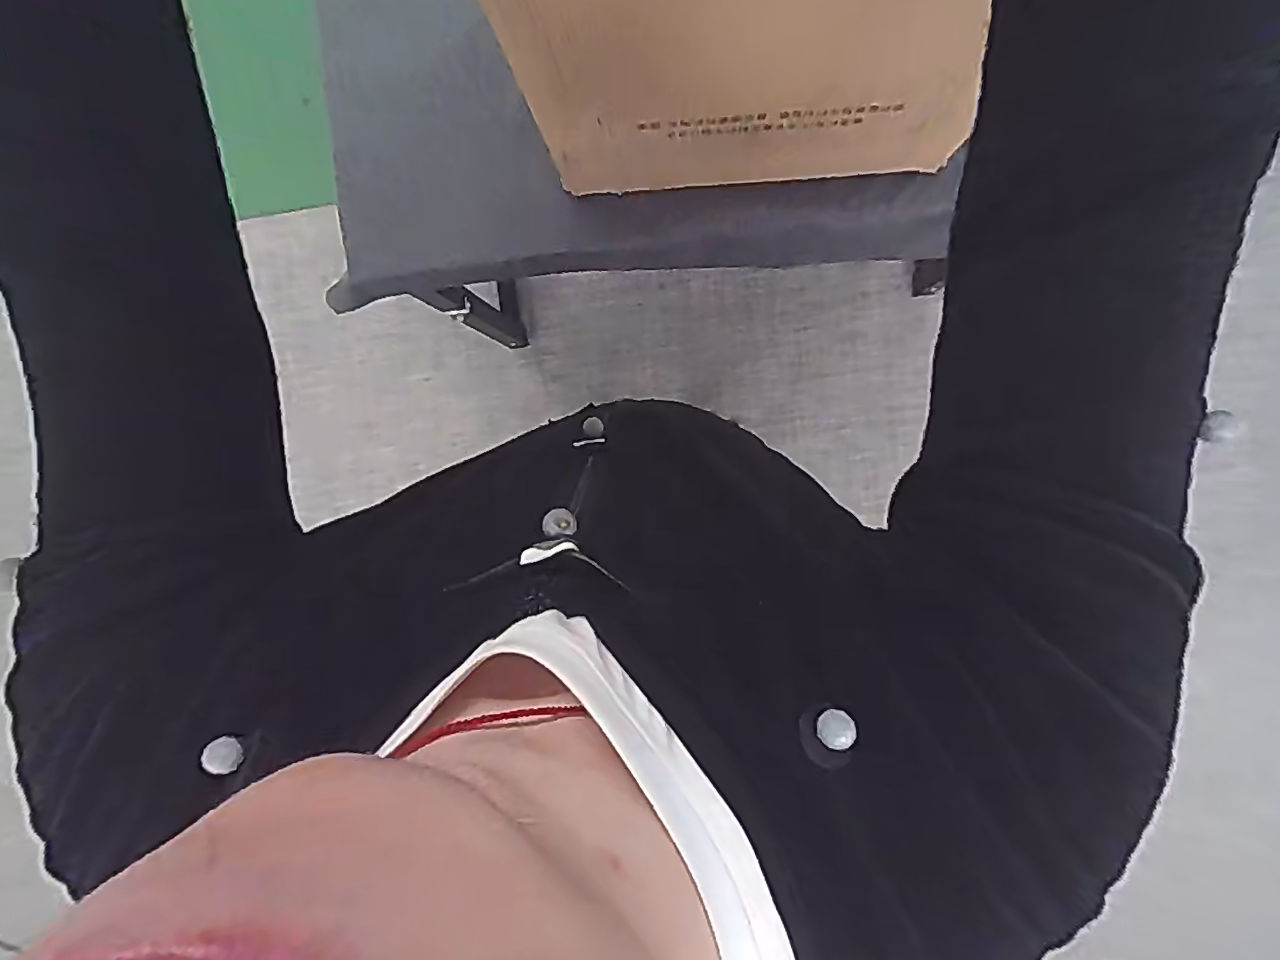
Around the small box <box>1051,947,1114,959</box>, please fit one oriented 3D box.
[{"bbox_3d":[1.290,1.463,1.511,0.168,0.176,0.179,-5,94,4],"label":"small box"}]
